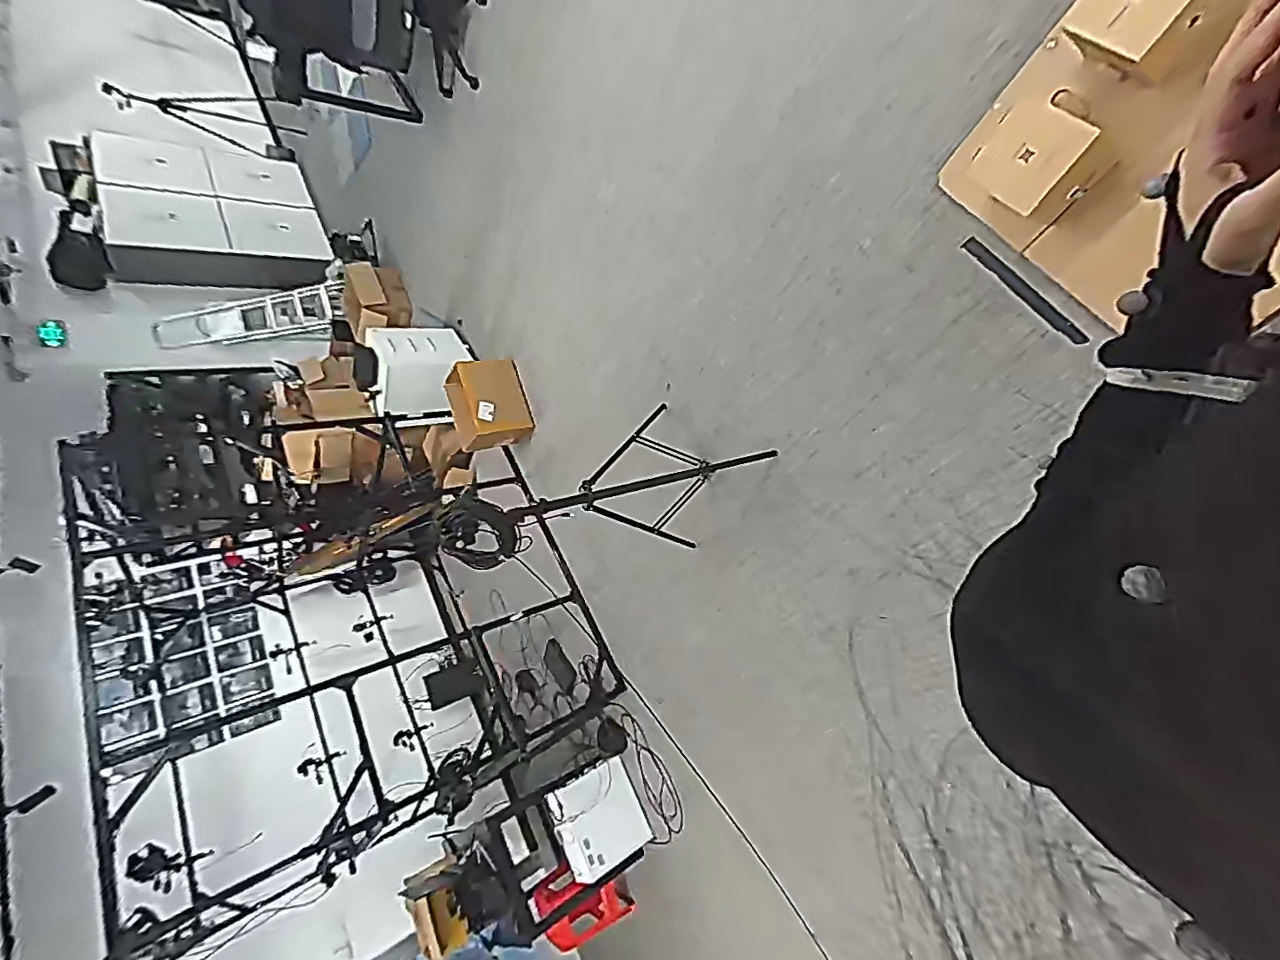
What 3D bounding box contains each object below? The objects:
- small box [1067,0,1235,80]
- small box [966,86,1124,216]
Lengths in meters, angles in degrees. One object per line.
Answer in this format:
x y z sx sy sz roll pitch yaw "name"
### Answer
0.909 -0.847 0.942 0.168 0.176 0.179 56 137 25 "small box"
0.825 -0.661 1.105 0.179 0.176 0.168 54 138 26 "small box"
